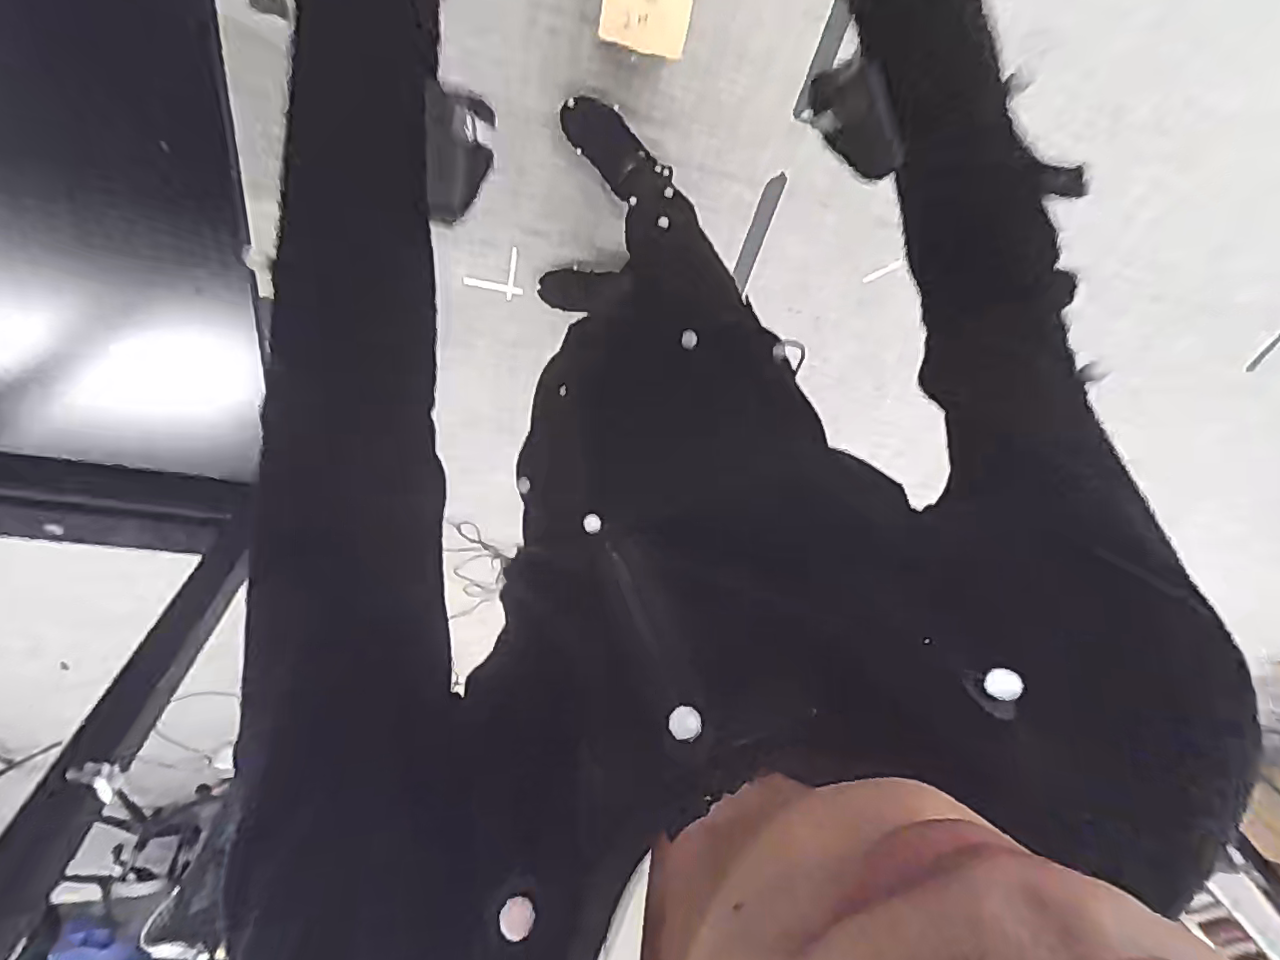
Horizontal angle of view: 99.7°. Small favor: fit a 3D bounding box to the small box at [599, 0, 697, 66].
[{"bbox_3d":[0.016,-0.934,1.048,0.168,0.176,0.179,7,127,-12],"label":"small box"}]
